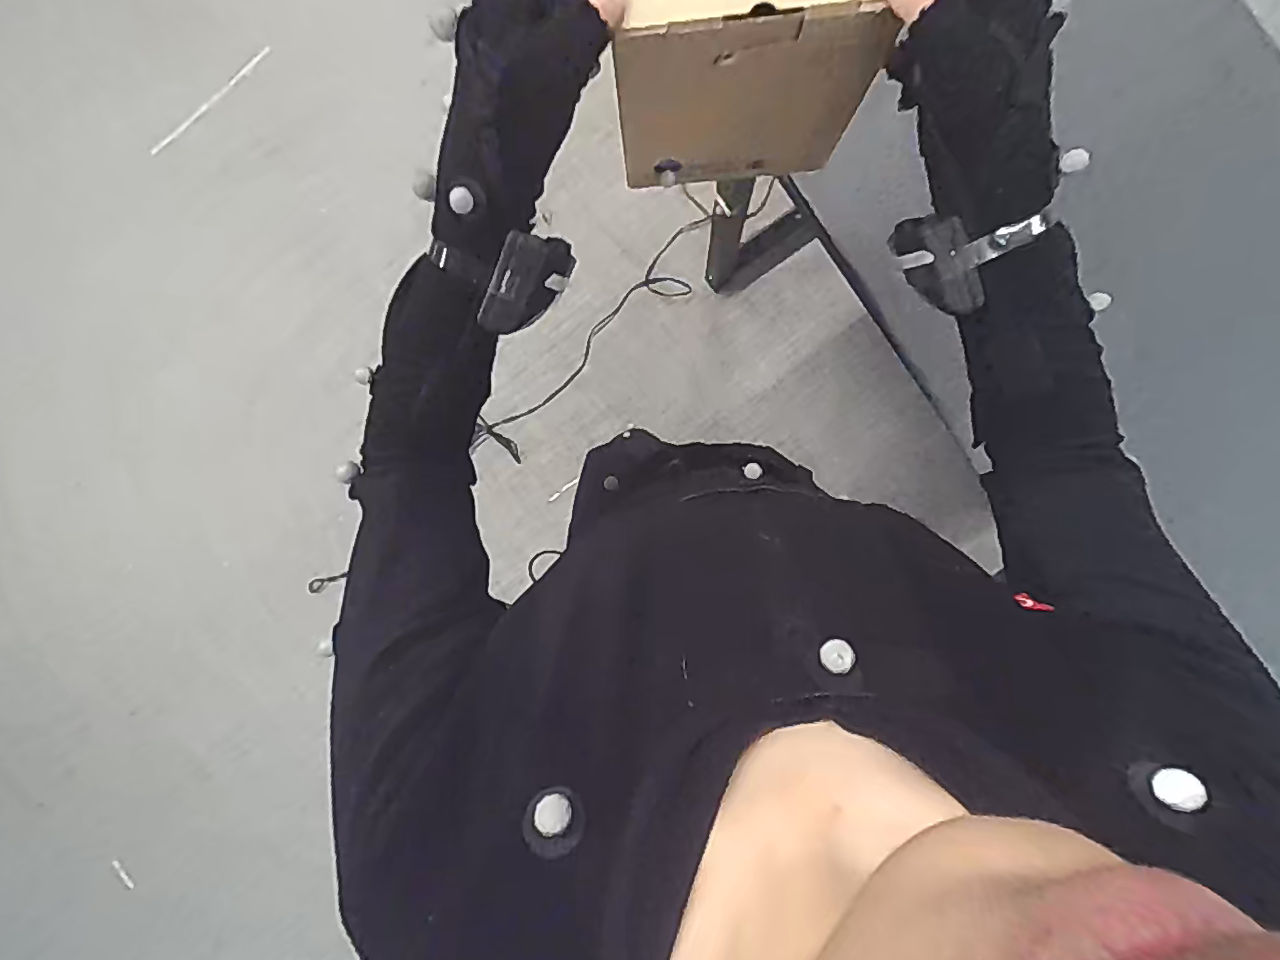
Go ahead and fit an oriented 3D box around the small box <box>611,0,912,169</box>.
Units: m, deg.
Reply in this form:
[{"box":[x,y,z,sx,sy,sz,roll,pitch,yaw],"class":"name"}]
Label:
[{"box":[0.065,-0.337,0.366,0.168,0.176,0.179,-4,91,2],"class":"small box"}]
